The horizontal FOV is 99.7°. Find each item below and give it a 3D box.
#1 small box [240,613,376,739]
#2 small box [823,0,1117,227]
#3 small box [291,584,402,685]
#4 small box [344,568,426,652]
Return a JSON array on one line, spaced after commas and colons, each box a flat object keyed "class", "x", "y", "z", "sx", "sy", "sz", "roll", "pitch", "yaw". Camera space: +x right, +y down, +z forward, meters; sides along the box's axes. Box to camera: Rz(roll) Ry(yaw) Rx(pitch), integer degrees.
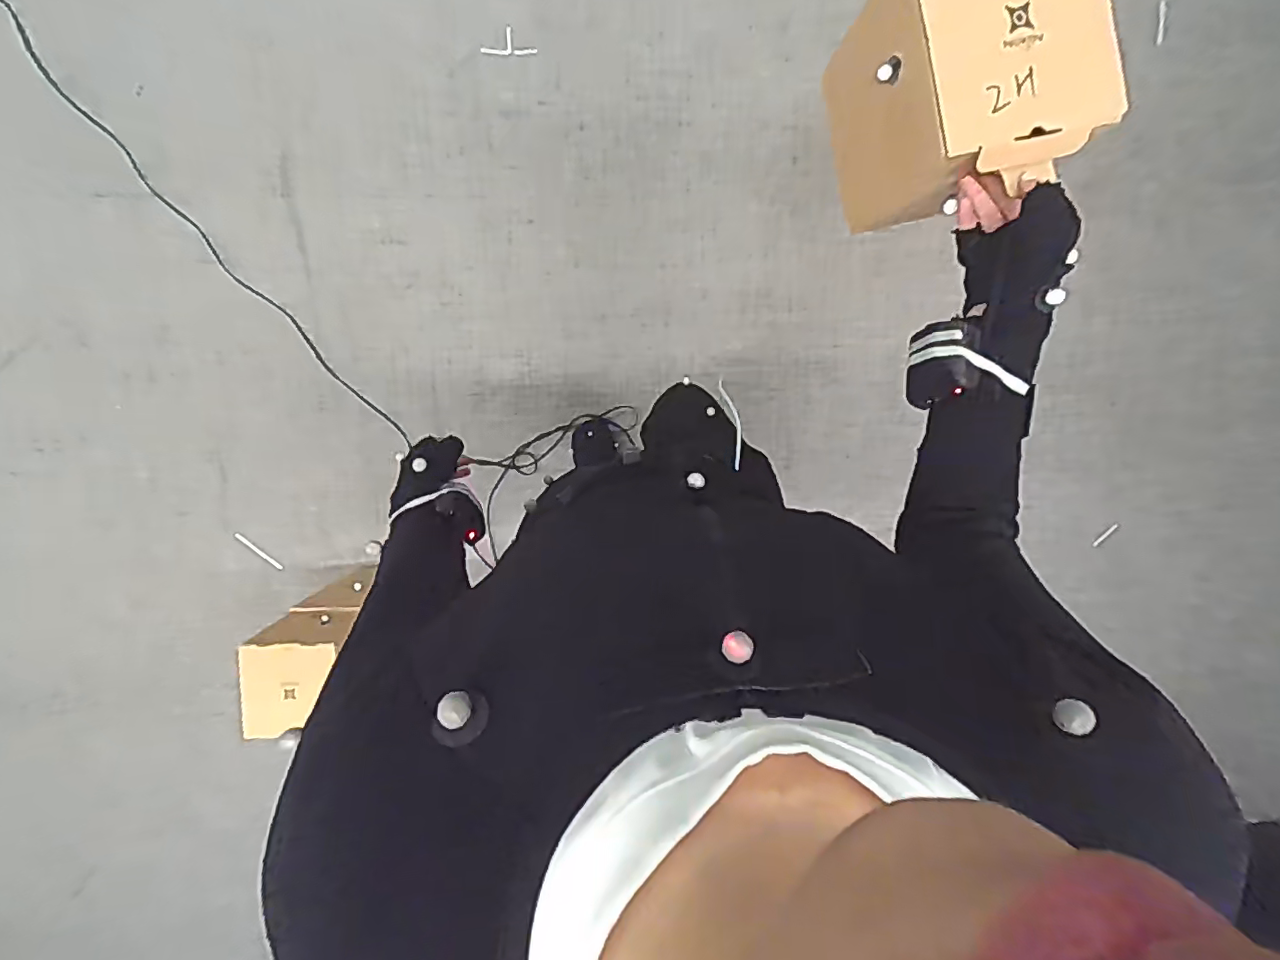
[{"class": "small box", "x": -0.625, "y": 0.369, "z": 1.040, "sx": 0.168, "sy": 0.176, "sz": 0.179, "roll": 0, "pitch": 96, "yaw": -5}, {"class": "small box", "x": 0.299, "y": -0.380, "z": 0.526, "sx": 0.168, "sy": 0.176, "sz": 0.179, "roll": -14, "pitch": 94, "yaw": -4}, {"class": "small box", "x": -0.640, "y": 0.342, "z": 1.199, "sx": 0.168, "sy": 0.176, "sz": 0.179, "roll": 0, "pitch": 96, "yaw": -5}, {"class": "small box", "x": -0.648, "y": 0.323, "z": 1.363, "sx": 0.179, "sy": 0.176, "sz": 0.168, "roll": 0, "pitch": 96, "yaw": -5}]
